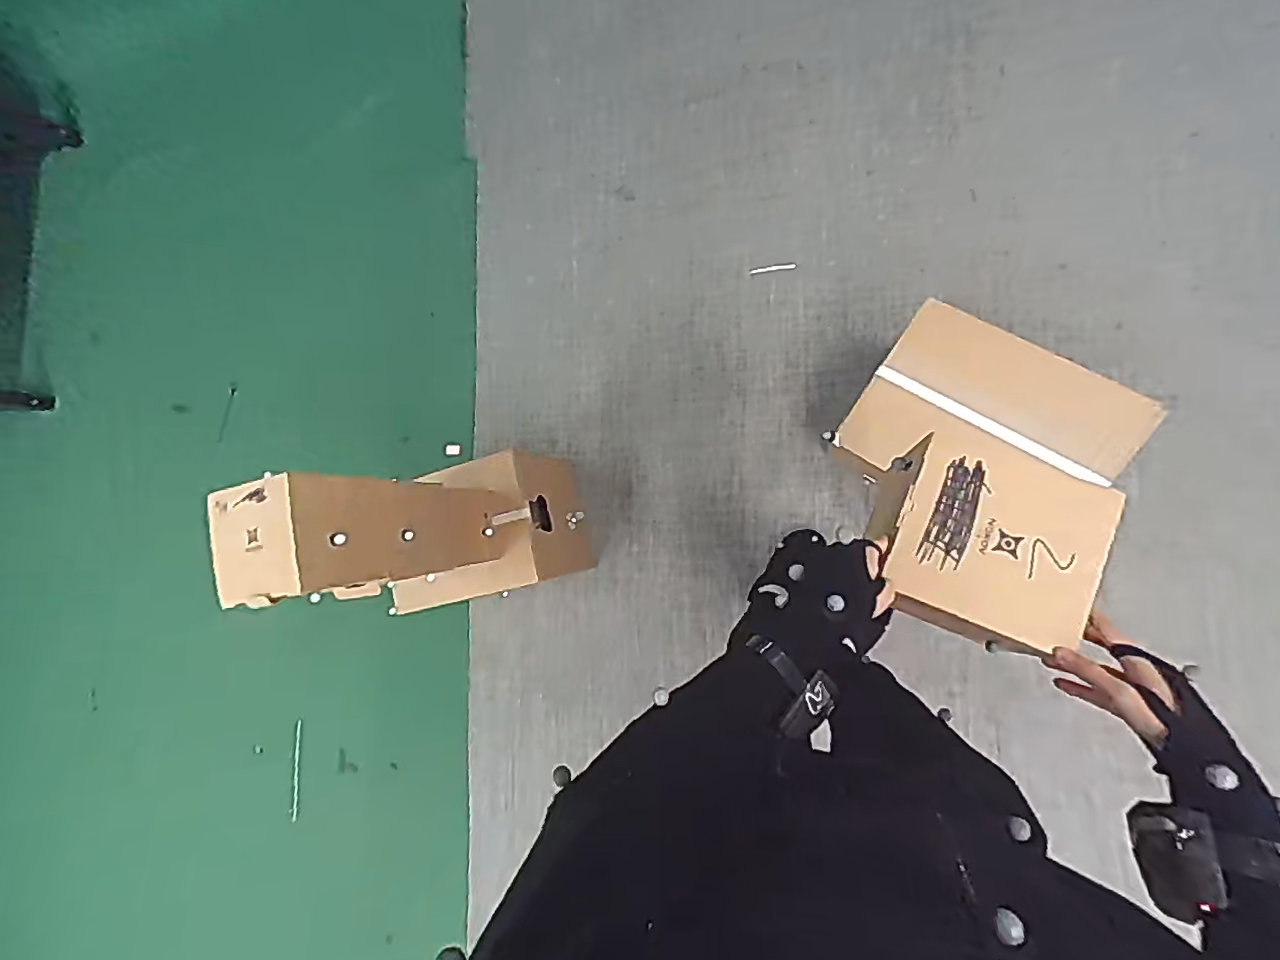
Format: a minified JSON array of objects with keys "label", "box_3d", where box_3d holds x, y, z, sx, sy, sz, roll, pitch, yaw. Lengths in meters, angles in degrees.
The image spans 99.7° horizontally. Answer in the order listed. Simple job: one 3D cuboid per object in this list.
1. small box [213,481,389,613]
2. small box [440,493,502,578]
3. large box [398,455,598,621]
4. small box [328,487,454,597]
[{"label":"small box","box_3d":[-0.527,0.100,0.860,0.168,0.176,0.179,-12,85,17]},{"label":"small box","box_3d":[-0.428,0.127,1.172,0.179,0.176,0.168,-13,84,17]},{"label":"large box","box_3d":[-0.374,0.150,1.411,0.408,0.320,0.320,-16,80,18]},{"label":"small box","box_3d":[-0.471,0.111,1.014,0.168,0.176,0.179,-11,84,18]}]
